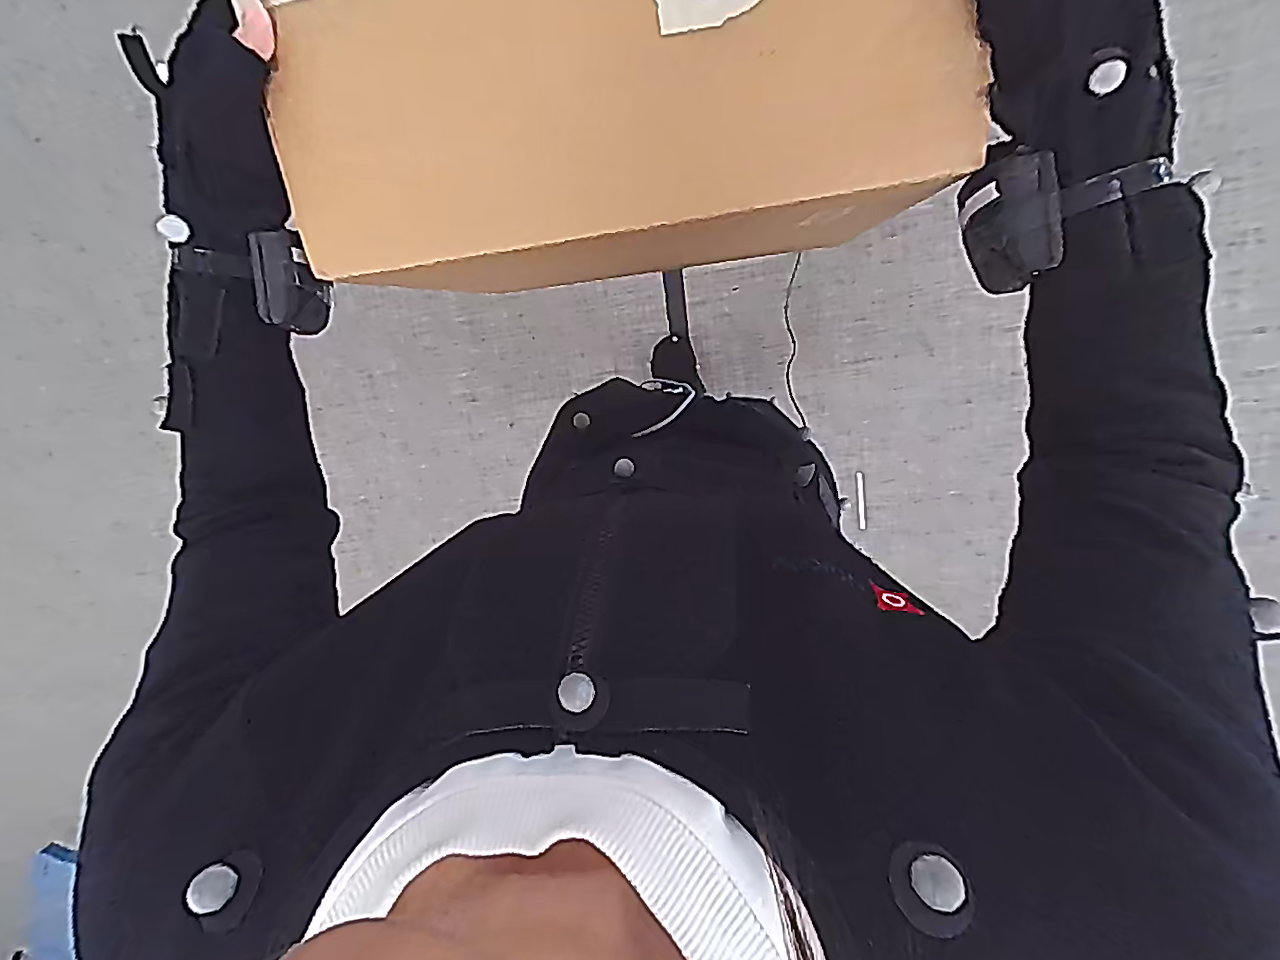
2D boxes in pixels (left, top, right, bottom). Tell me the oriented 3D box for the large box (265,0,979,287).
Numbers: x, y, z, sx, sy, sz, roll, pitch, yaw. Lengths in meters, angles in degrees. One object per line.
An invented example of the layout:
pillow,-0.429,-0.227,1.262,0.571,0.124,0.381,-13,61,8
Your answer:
large box,-0.013,-0.353,0.431,0.408,0.320,0.320,-6,107,9
